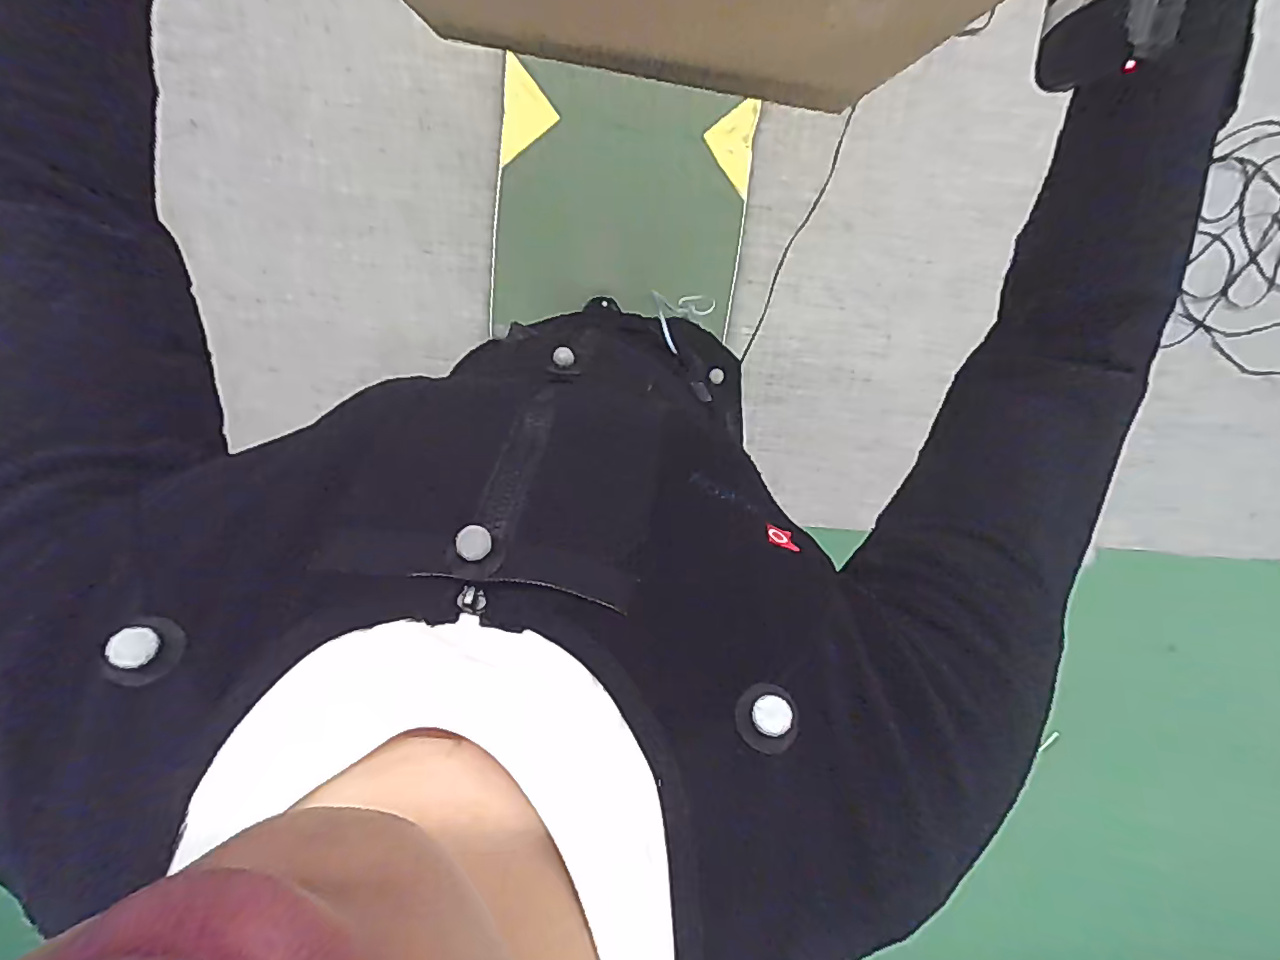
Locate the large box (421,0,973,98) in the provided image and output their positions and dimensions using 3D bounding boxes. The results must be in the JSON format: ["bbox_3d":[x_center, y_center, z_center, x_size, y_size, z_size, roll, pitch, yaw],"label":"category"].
[{"bbox_3d":[0.029,-0.483,0.335,0.408,0.320,0.320,8,114,-4],"label":"large box"}]
